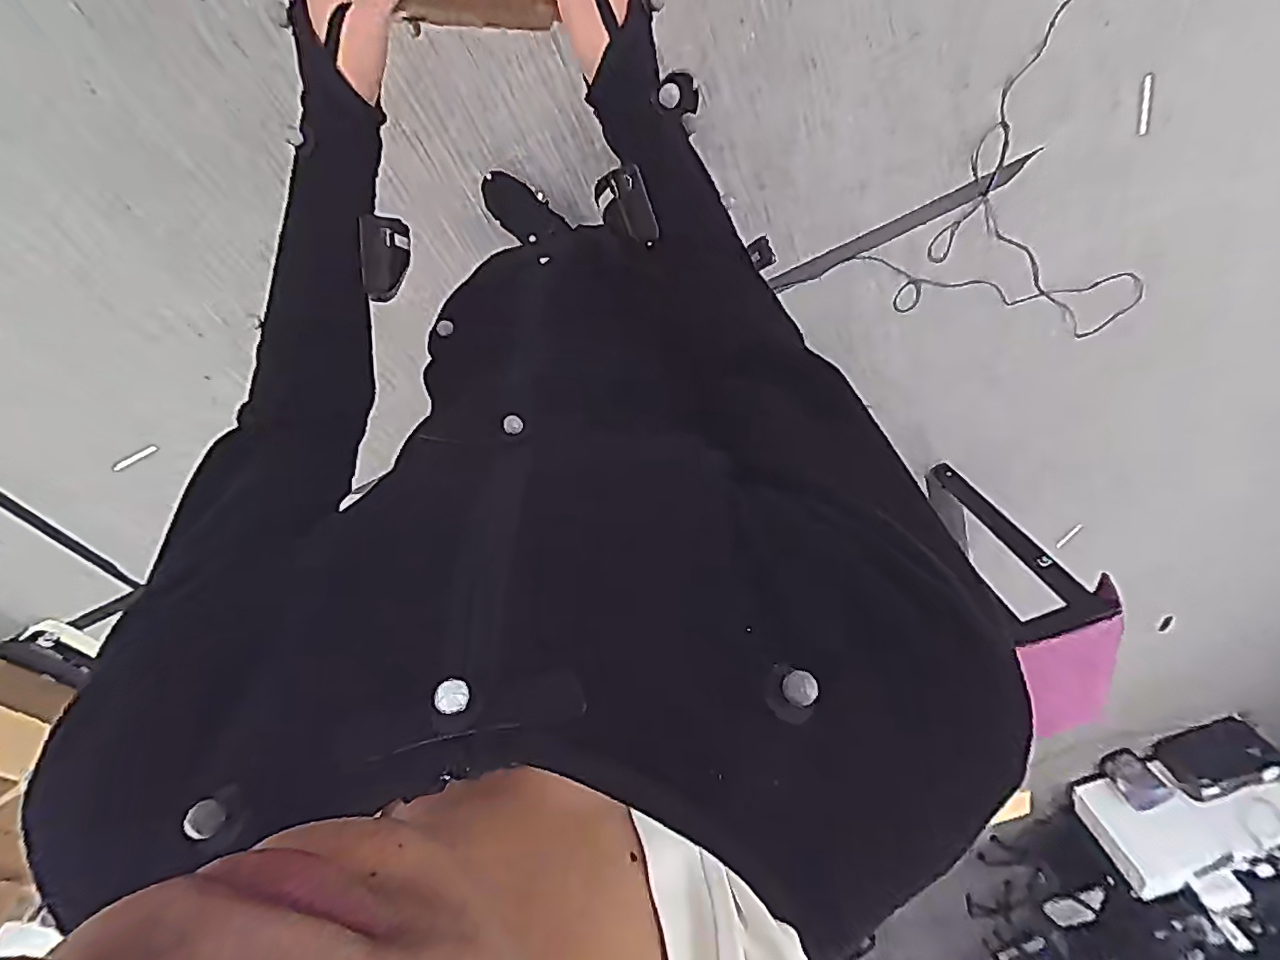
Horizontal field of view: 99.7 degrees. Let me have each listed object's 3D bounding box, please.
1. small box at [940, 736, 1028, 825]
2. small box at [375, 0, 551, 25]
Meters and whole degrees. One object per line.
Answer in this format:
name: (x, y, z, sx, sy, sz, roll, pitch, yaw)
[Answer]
small box: (1.055, 0.924, 1.667, 0.168, 0.176, 0.179, -22, 125, 7)
small box: (-0.153, -0.488, 0.424, 0.168, 0.176, 0.179, -8, 118, -13)
